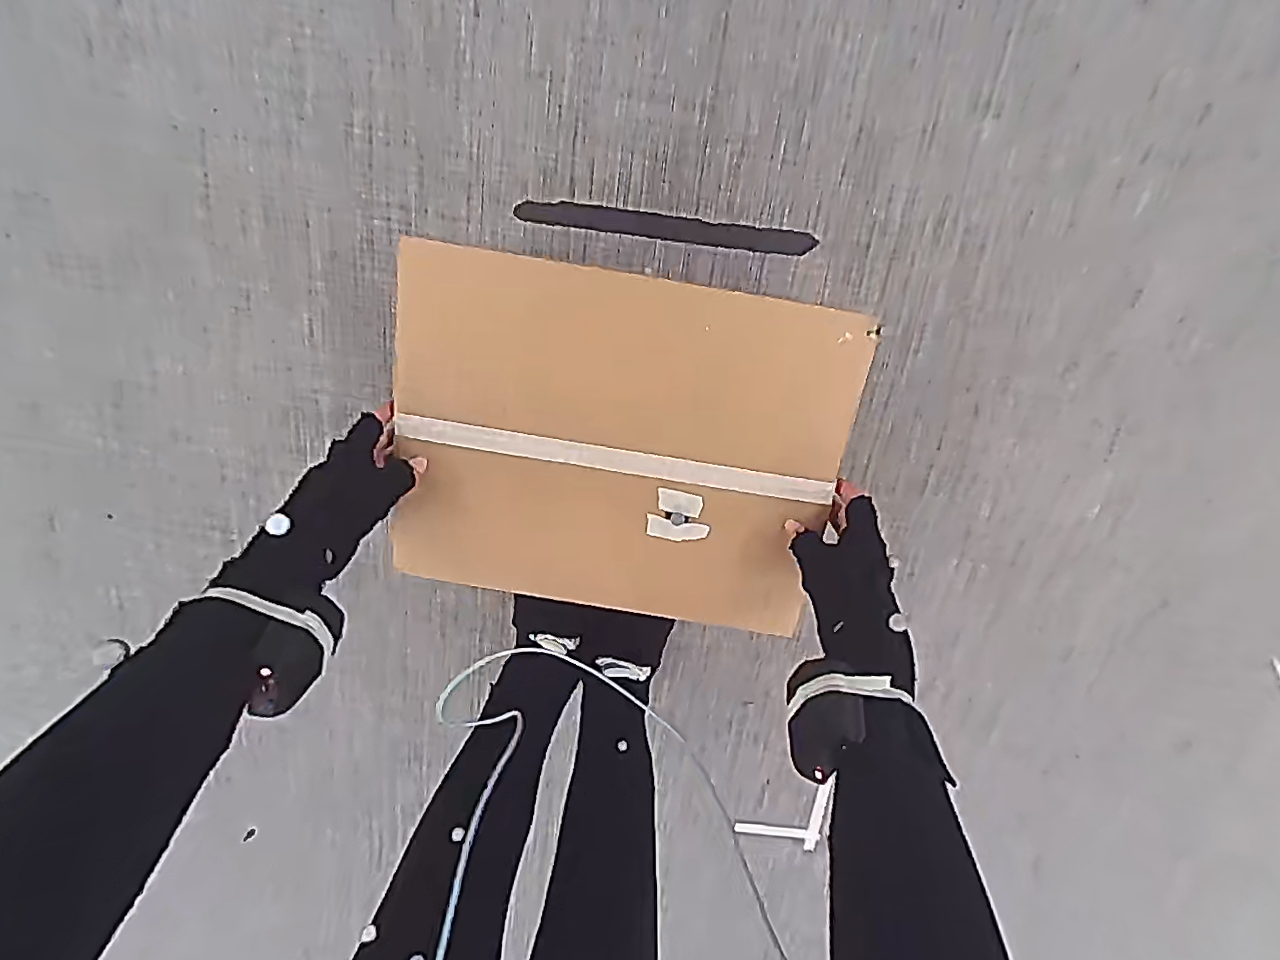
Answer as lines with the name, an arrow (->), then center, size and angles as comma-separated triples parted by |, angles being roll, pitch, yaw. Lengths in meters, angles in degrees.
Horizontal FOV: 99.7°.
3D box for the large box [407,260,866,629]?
large box -> -0.017, -0.060, 0.650 | 0.408, 0.320, 0.320 | 9, 108, -1
